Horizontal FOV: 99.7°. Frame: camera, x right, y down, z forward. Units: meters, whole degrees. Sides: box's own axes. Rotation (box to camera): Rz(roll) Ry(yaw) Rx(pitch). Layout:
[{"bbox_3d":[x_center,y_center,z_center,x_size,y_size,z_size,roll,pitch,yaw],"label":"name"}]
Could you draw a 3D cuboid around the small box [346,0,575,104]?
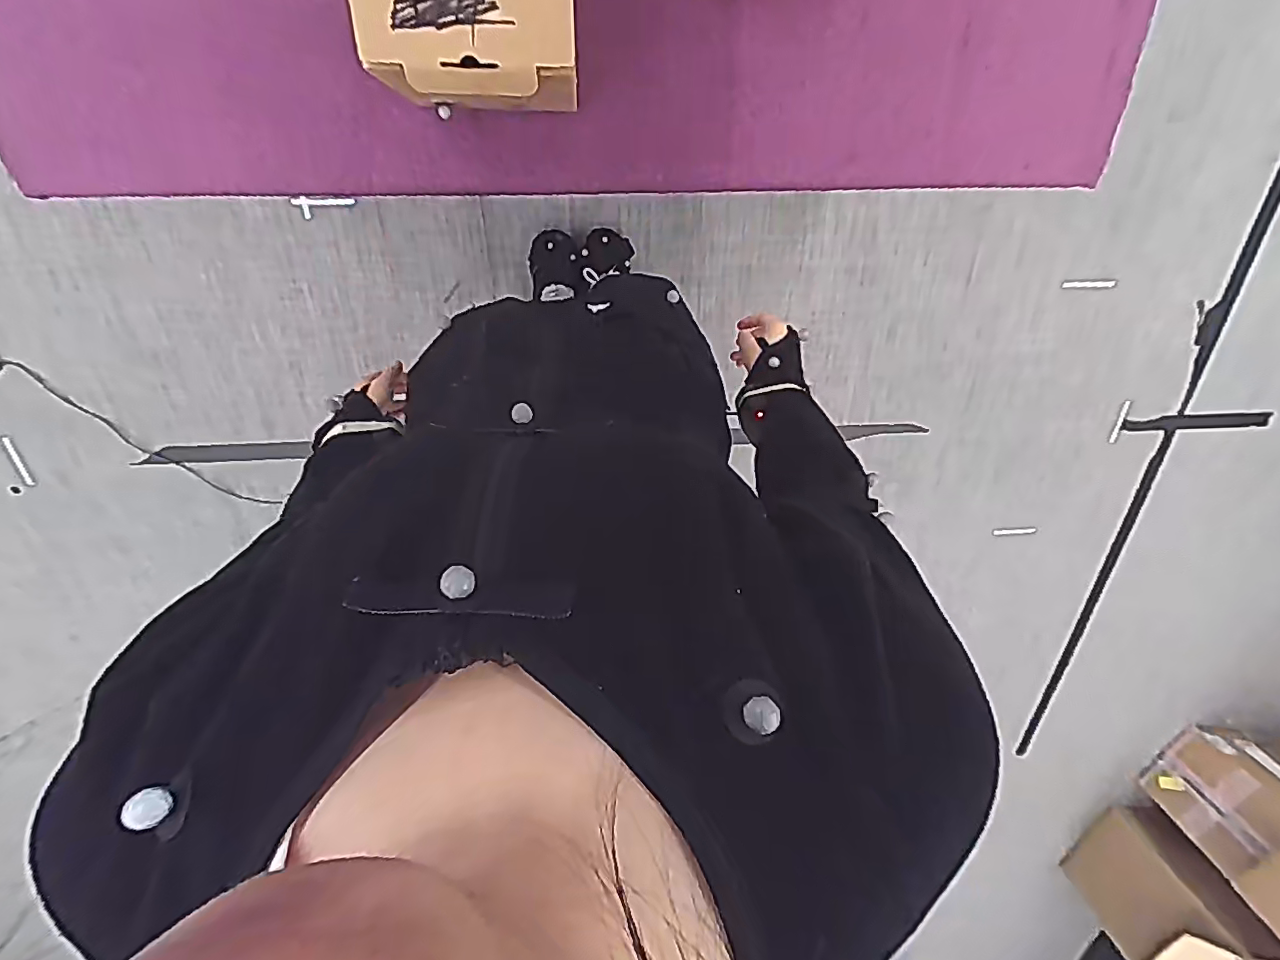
[{"bbox_3d":[-0.141,-0.435,0.455,0.168,0.176,0.179,-2,115,-5],"label":"small box"}]
